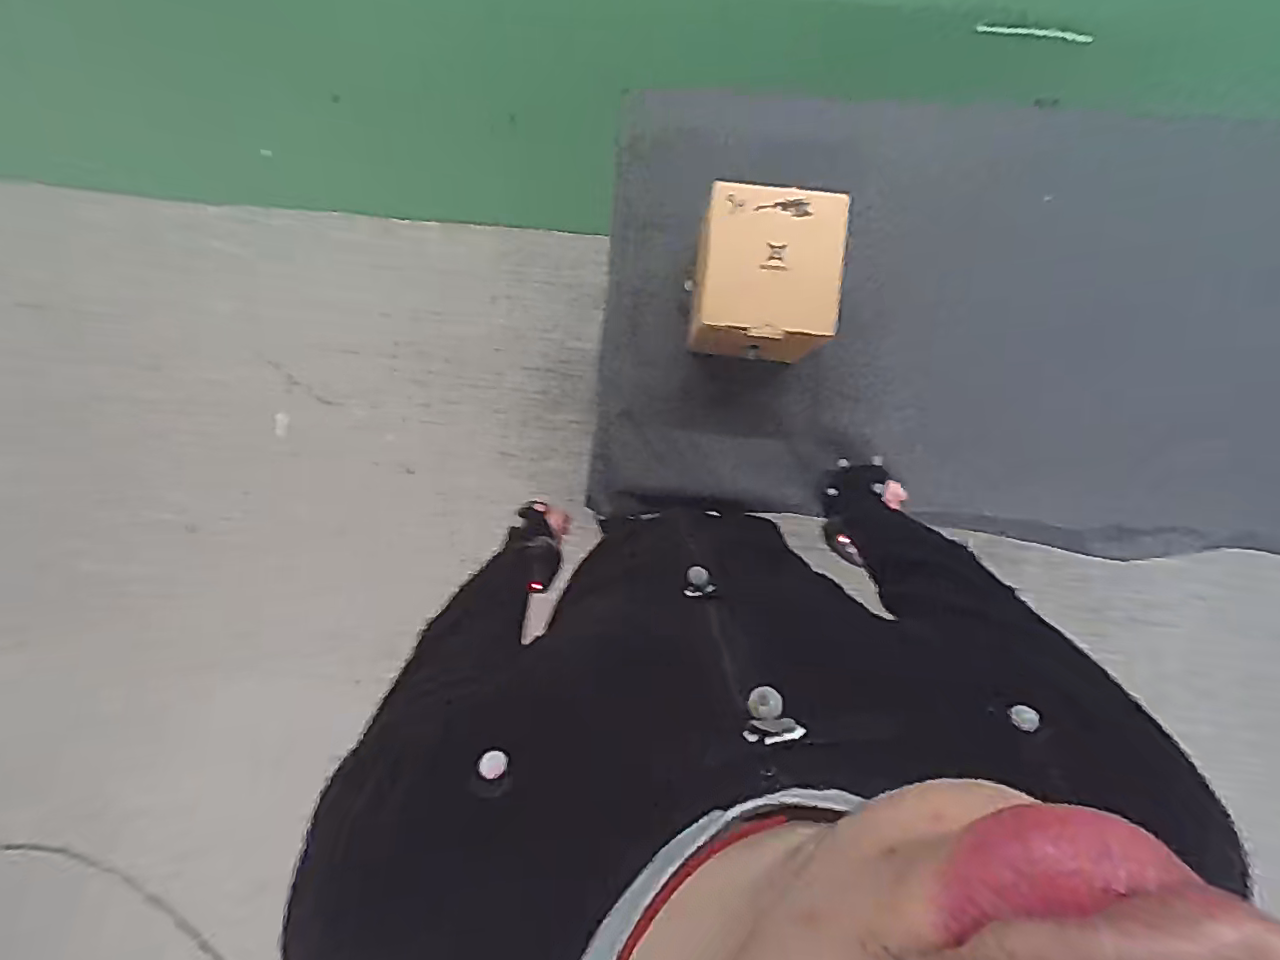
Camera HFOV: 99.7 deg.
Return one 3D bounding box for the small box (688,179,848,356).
[{"bbox_3d":[0.160,-0.273,0.736,0.168,0.176,0.179,6,93,-1],"label":"small box"}]
